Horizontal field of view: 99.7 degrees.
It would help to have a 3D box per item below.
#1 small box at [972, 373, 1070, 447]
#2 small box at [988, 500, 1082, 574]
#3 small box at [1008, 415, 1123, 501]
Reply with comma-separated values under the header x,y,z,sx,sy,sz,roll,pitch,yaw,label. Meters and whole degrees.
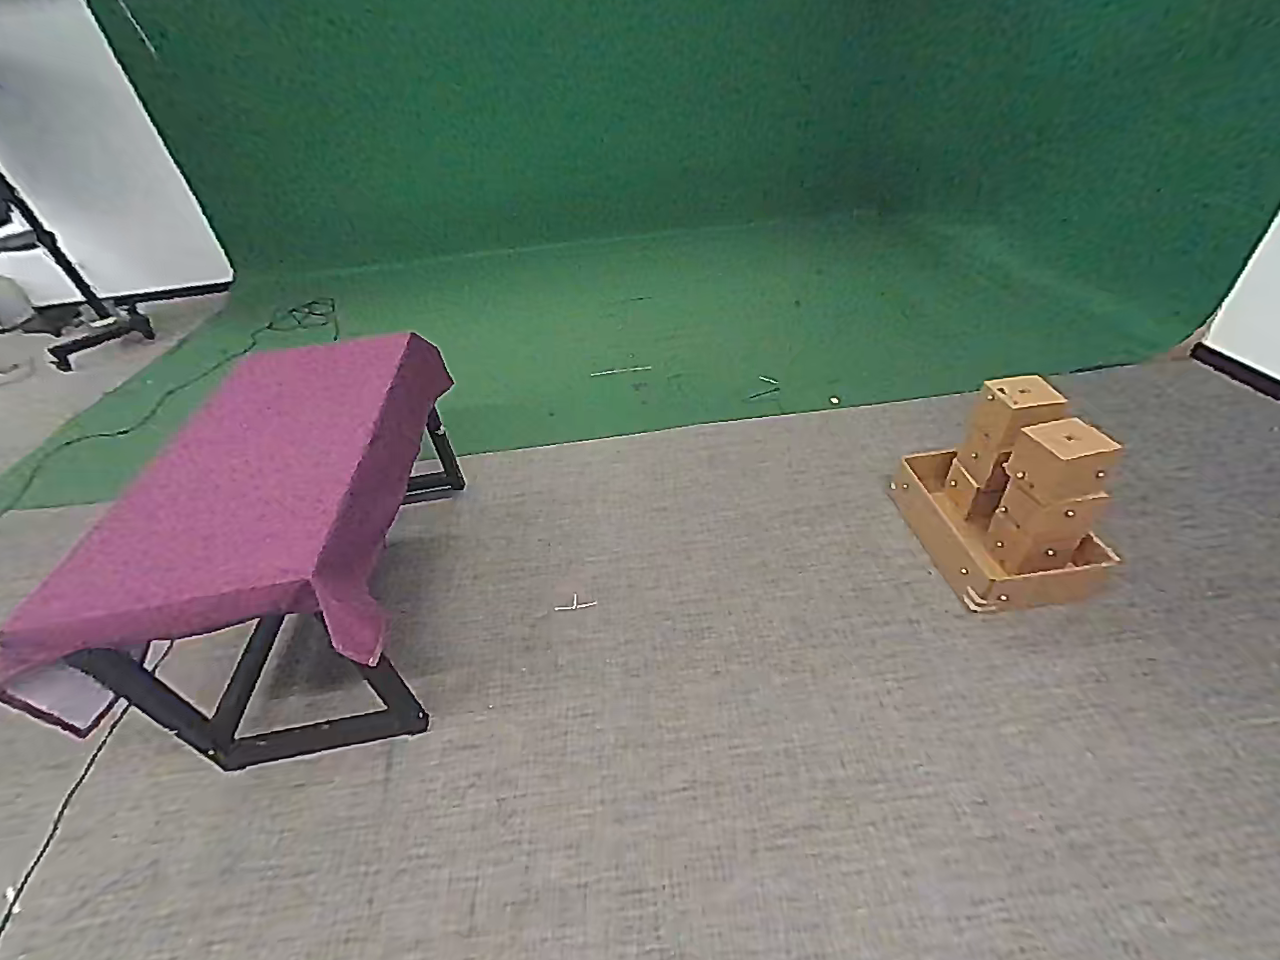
x,y,z,sx,sy,sz,roll,pitch,yaw,label
1.222,-0.225,1.751,0.179,0.176,0.168,-7,40,0,small box
1.274,0.190,1.764,0.179,0.176,0.168,-8,40,0,small box
1.216,-0.062,1.561,0.179,0.176,0.168,-12,39,-3,small box
